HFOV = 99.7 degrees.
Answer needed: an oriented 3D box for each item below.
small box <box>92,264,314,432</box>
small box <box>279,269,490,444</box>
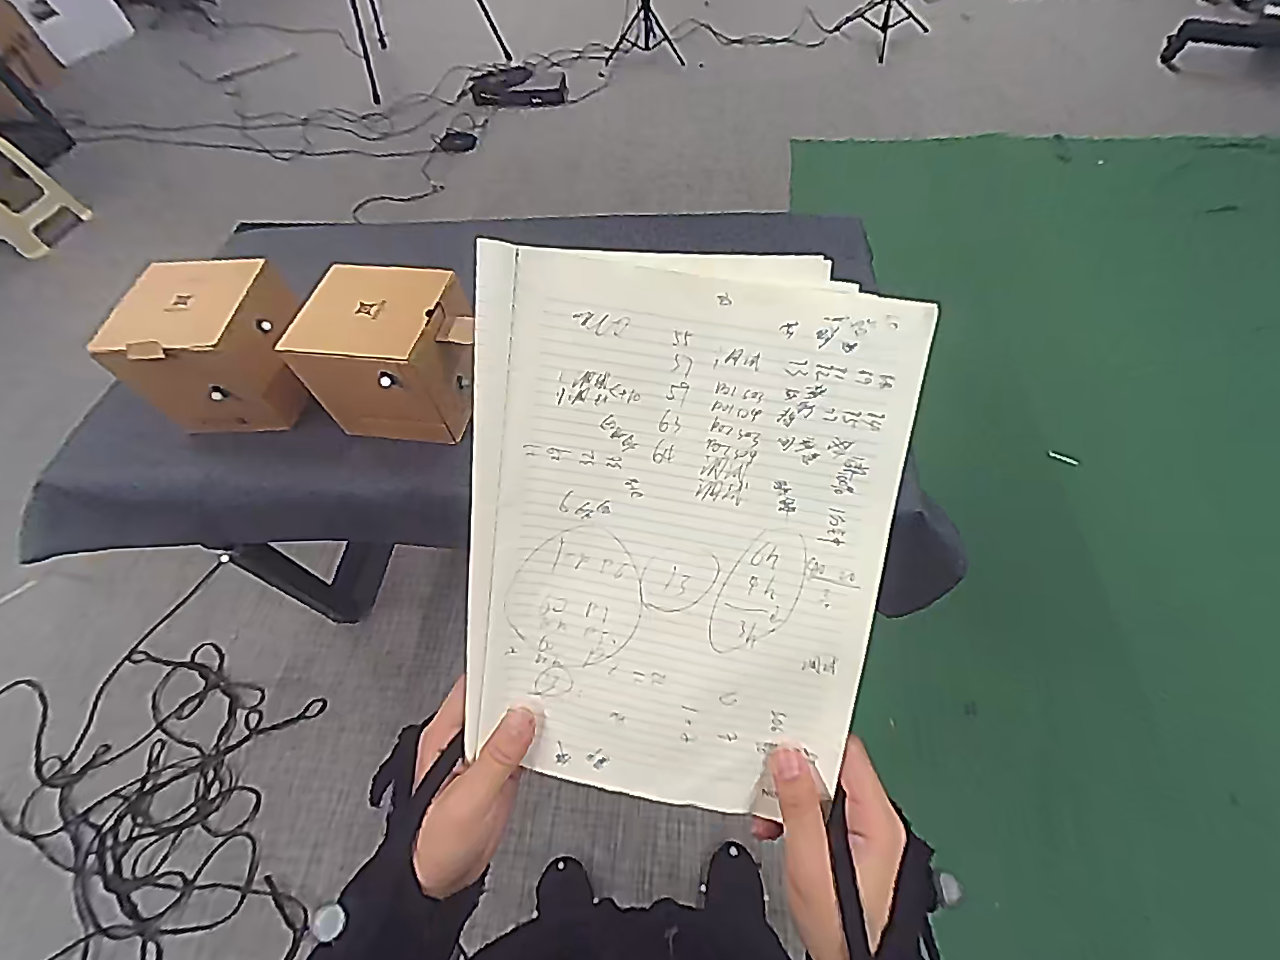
[{"bbox_3d":[-0.589,-0.181,0.773,0.168,0.176,0.179,-1,56,2],"label":"small box"},{"bbox_3d":[-0.332,-0.165,0.745,0.179,0.176,0.168,6,57,7],"label":"small box"}]
